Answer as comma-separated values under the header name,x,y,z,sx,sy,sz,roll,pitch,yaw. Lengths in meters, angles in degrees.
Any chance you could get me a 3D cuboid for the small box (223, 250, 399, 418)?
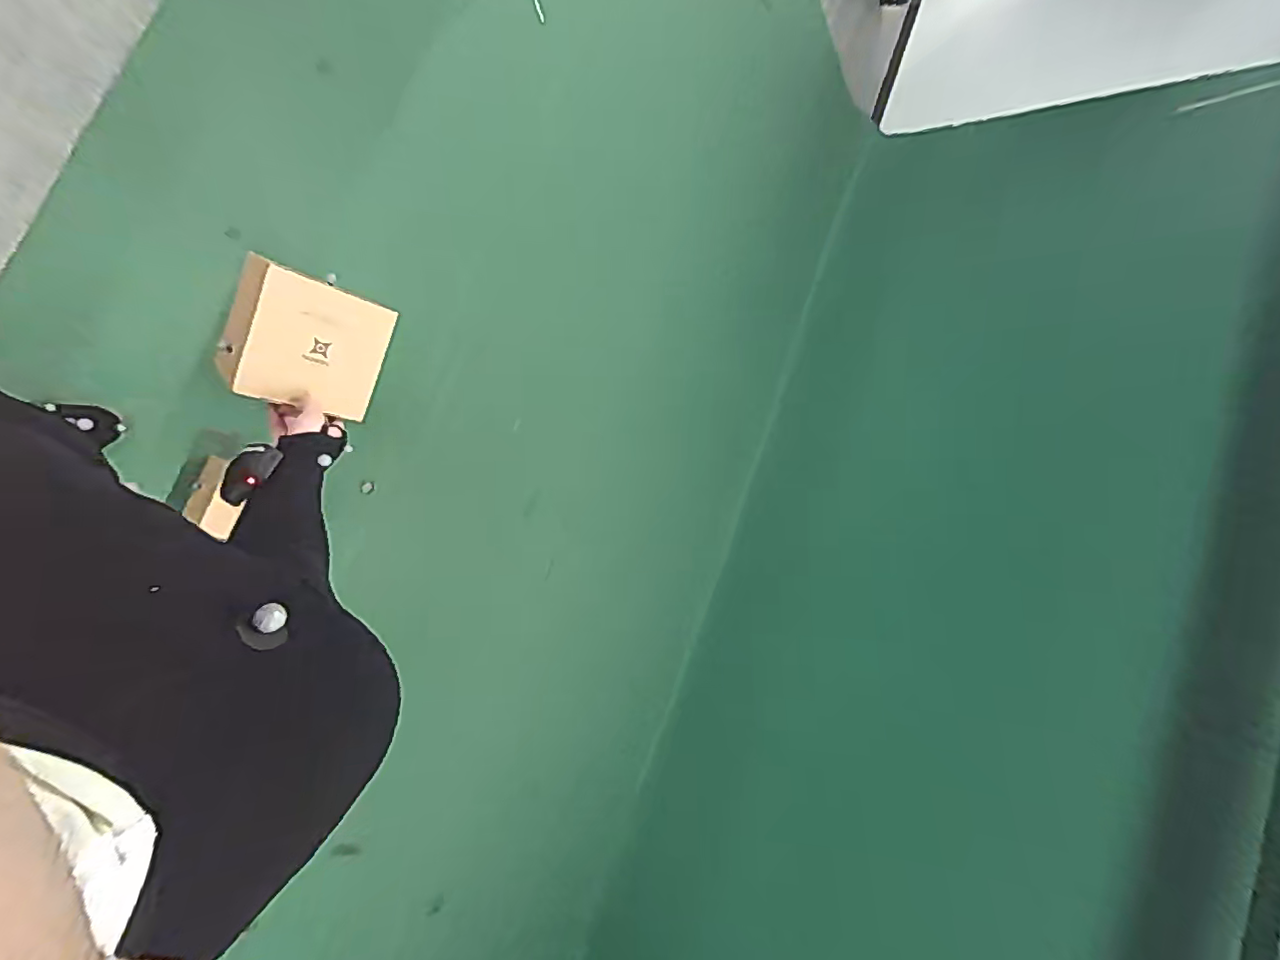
name,x,y,z,sx,sy,sz,roll,pitch,yaw
small box,-0.485,-0.213,0.790,0.168,0.176,0.179,13,102,-47
